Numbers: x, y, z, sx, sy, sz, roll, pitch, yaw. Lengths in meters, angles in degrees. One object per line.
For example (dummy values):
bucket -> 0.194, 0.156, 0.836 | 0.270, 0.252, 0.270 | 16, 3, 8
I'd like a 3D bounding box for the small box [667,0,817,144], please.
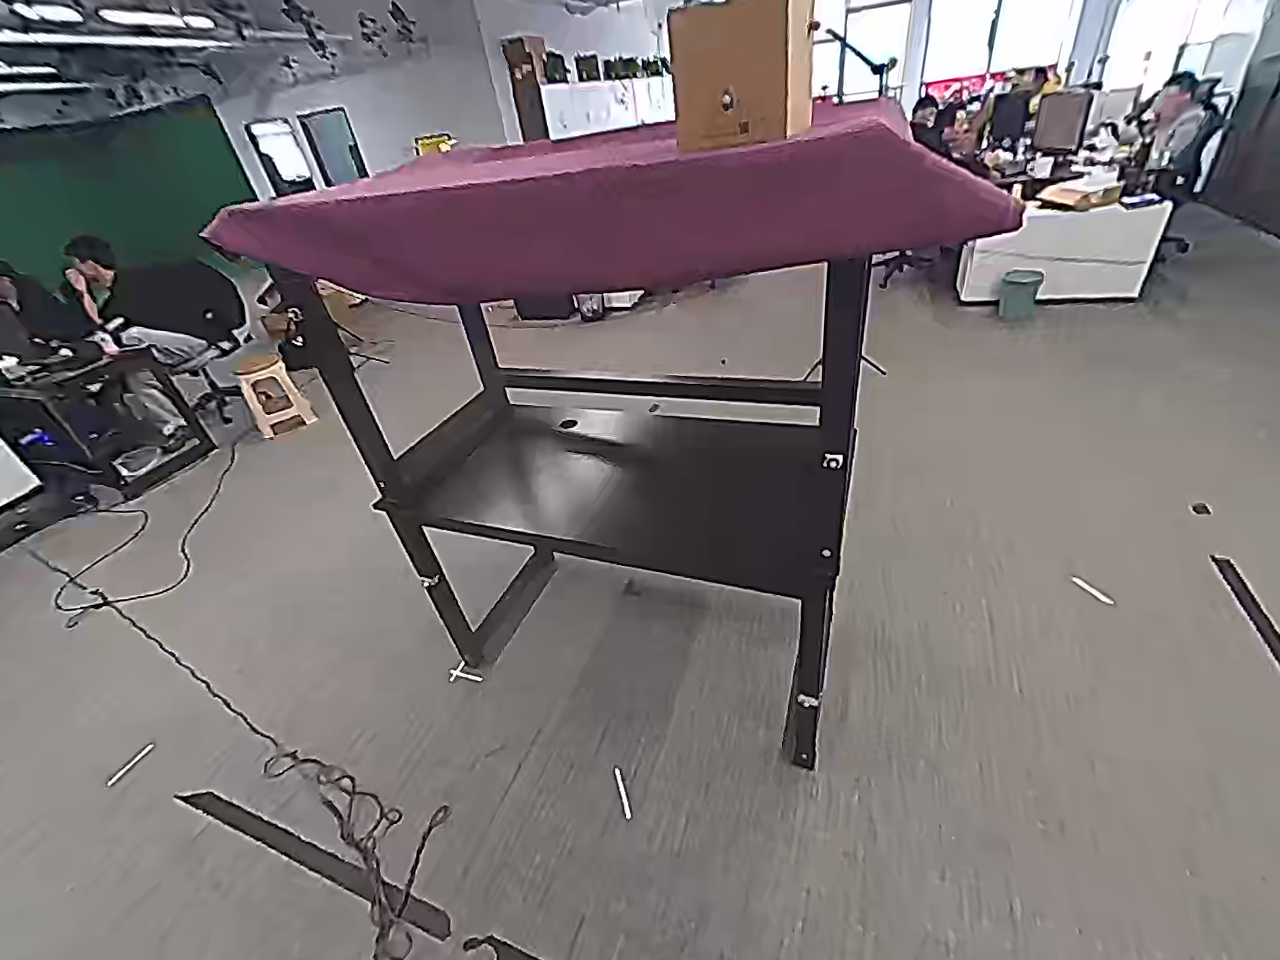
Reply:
small box -> 0.152, -0.596, 0.780 | 0.168, 0.176, 0.179 | 8, 38, 25
